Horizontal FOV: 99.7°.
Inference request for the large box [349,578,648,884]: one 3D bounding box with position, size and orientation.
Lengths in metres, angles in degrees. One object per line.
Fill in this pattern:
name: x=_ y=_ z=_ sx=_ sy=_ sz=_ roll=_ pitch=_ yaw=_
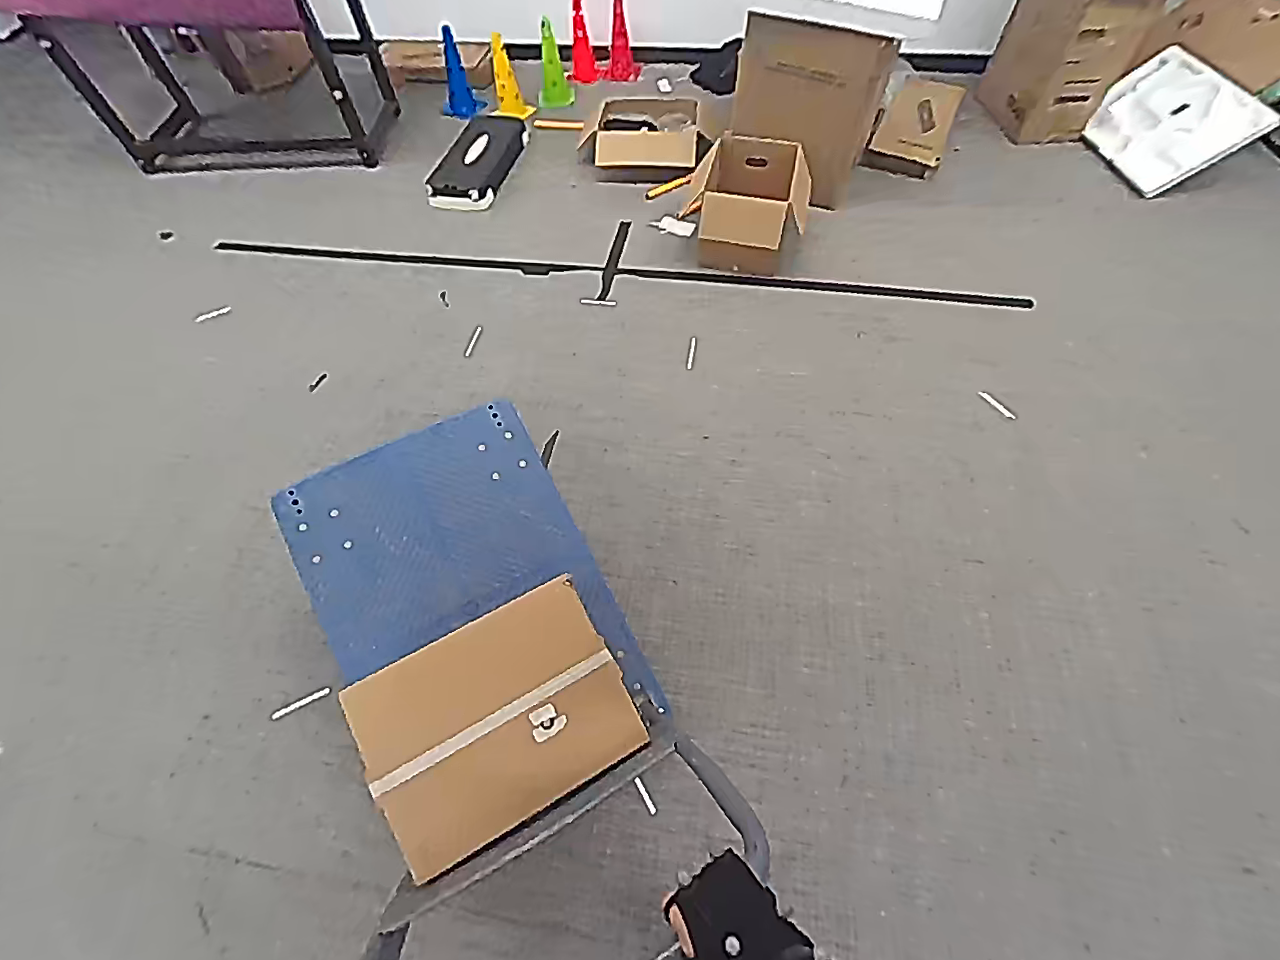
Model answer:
large box: x=-0.249 y=0.436 z=1.030 sx=0.408 sy=0.320 sz=0.320 roll=-27 pitch=80 yaw=-15
